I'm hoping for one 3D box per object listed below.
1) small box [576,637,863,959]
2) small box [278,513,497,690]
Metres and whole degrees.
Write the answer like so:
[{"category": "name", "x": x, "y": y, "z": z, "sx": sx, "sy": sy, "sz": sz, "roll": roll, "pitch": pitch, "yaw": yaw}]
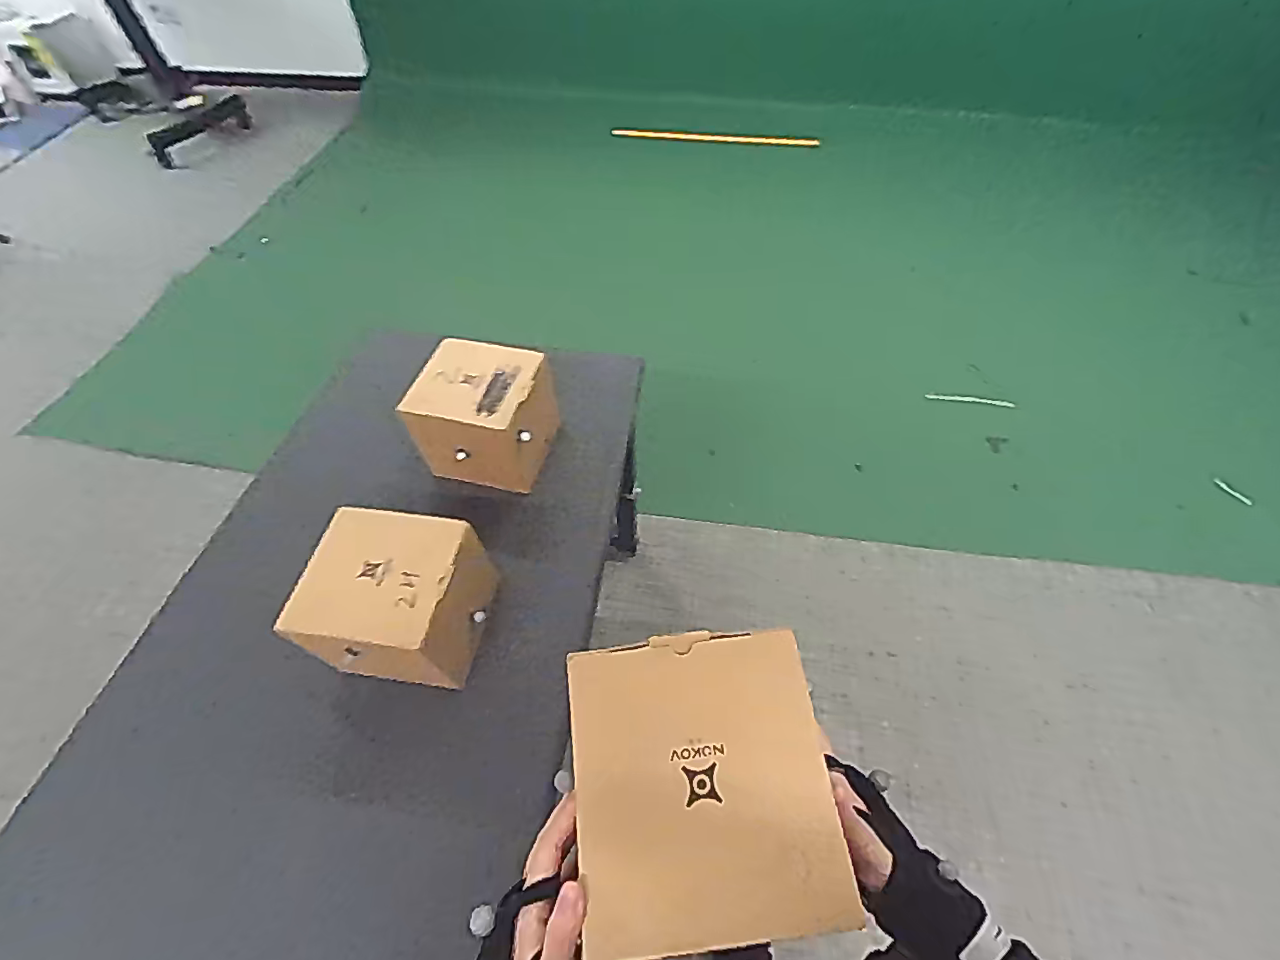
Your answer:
[{"category": "small box", "x": 0.045, "y": 0.235, "z": 0.421, "sx": 0.168, "sy": 0.176, "sz": 0.179, "roll": -6, "pitch": 61, "yaw": -2}, {"category": "small box", "x": -0.310, "y": 0.163, "z": 0.709, "sx": 0.179, "sy": 0.176, "sz": 0.168, "roll": 6, "pitch": 55, "yaw": 6}]
